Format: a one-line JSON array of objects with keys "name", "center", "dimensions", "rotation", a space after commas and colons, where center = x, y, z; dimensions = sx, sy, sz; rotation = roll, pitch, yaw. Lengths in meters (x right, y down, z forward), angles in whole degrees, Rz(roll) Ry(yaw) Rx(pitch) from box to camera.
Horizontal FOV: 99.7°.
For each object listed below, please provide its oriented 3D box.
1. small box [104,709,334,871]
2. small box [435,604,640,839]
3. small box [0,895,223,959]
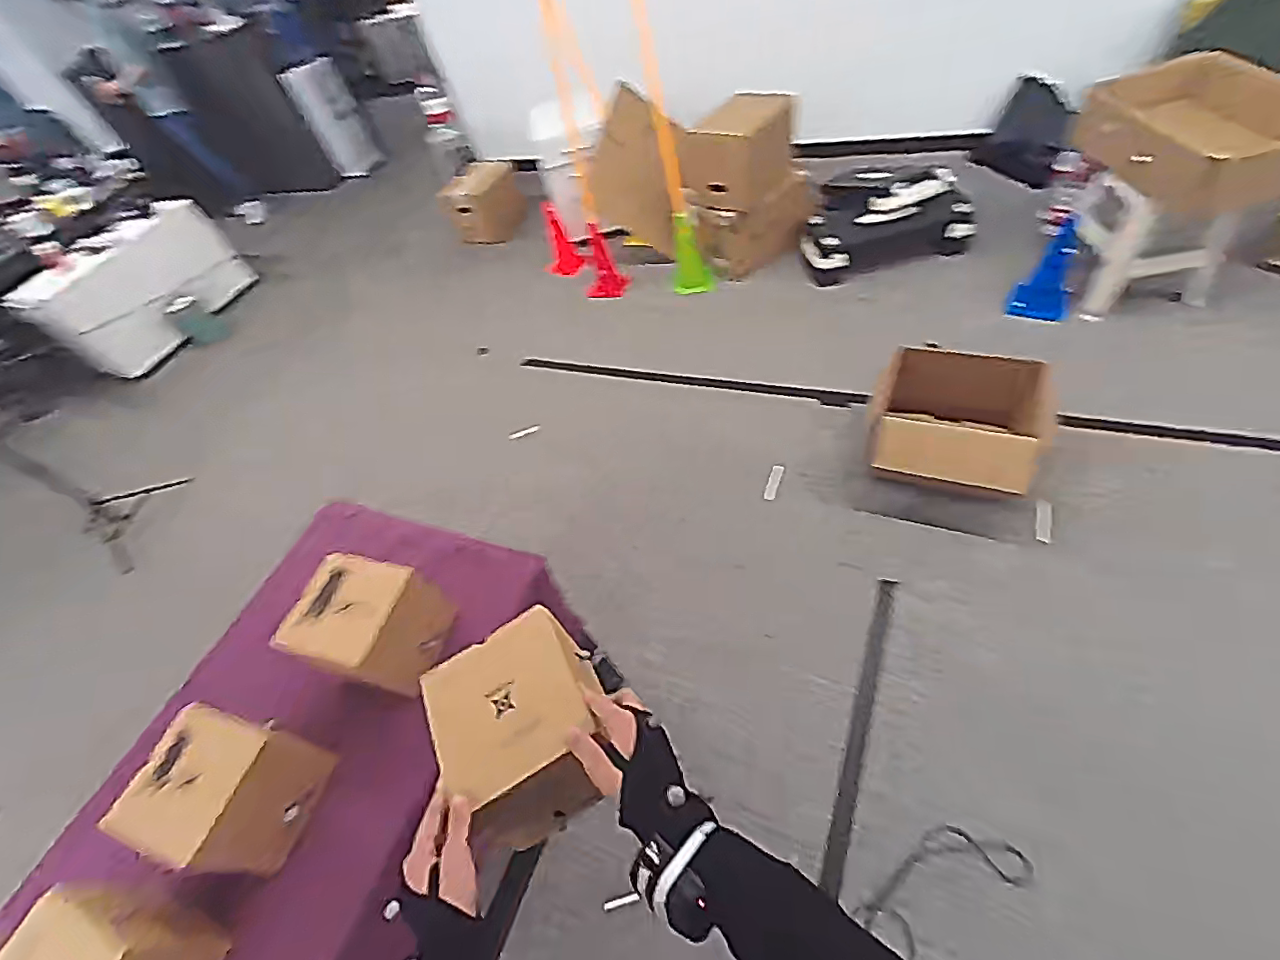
[{"name": "small box", "center": [-0.622, 0.473, 0.821], "dimensions": [0.179, 0.176, 0.168], "rotation": [7, 56, 19]}, {"name": "small box", "center": [-0.121, 0.292, 0.656], "dimensions": [0.168, 0.176, 0.179], "rotation": [-30, 45, -7]}, {"name": "small box", "center": [-0.704, 0.664, 0.697], "dimensions": [0.179, 0.176, 0.168], "rotation": [10, 57, 22]}]
